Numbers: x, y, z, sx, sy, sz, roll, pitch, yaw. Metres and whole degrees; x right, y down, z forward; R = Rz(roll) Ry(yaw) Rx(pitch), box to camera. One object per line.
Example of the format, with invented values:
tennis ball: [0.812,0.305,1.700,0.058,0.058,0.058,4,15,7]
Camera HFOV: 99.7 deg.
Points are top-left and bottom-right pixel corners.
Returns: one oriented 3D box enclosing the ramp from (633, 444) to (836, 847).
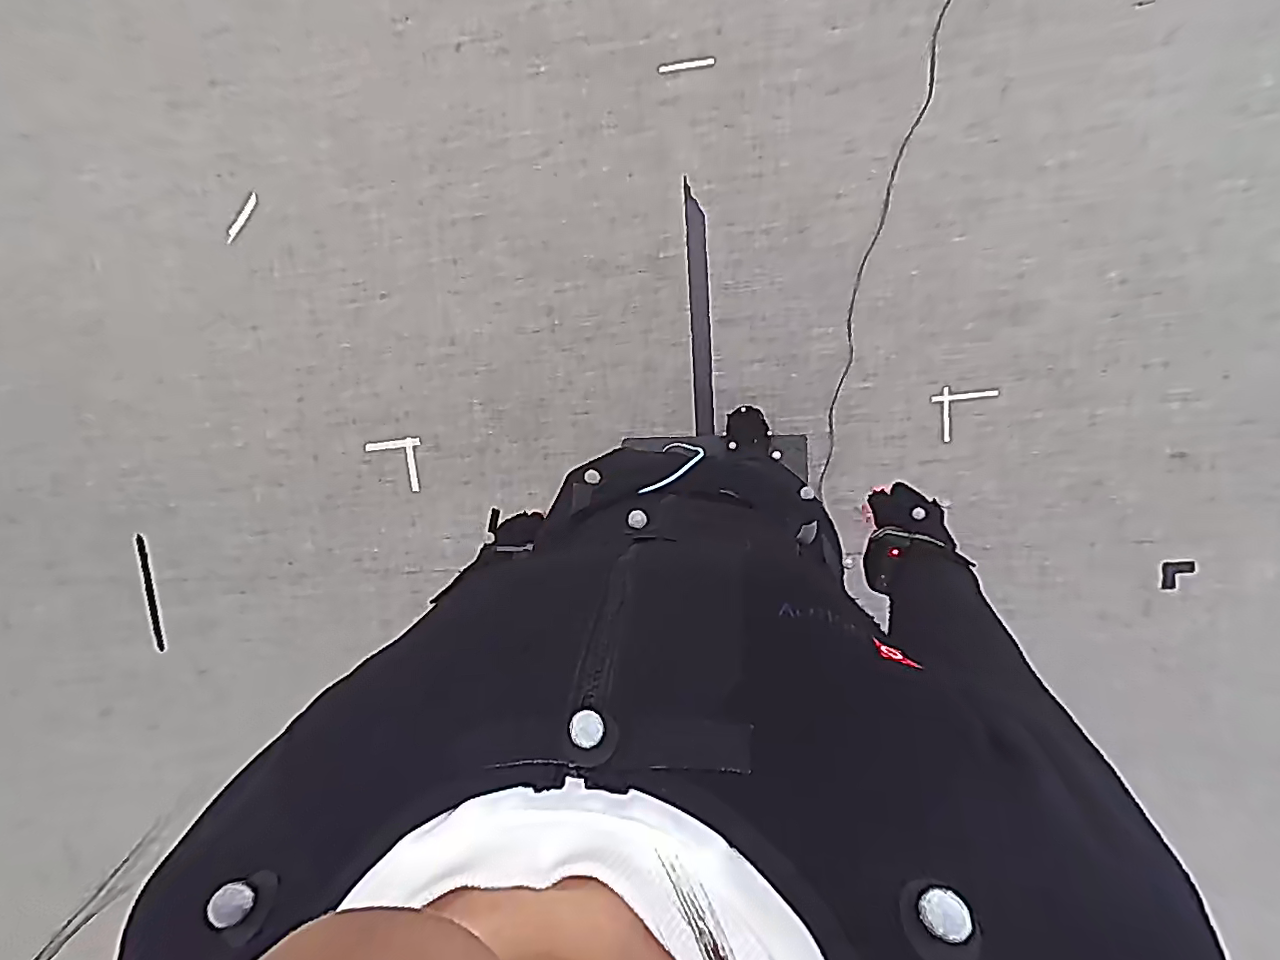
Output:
ramp: [0.227,0.411,1.411,0.509,0.206,0.991,-4,94,11]
